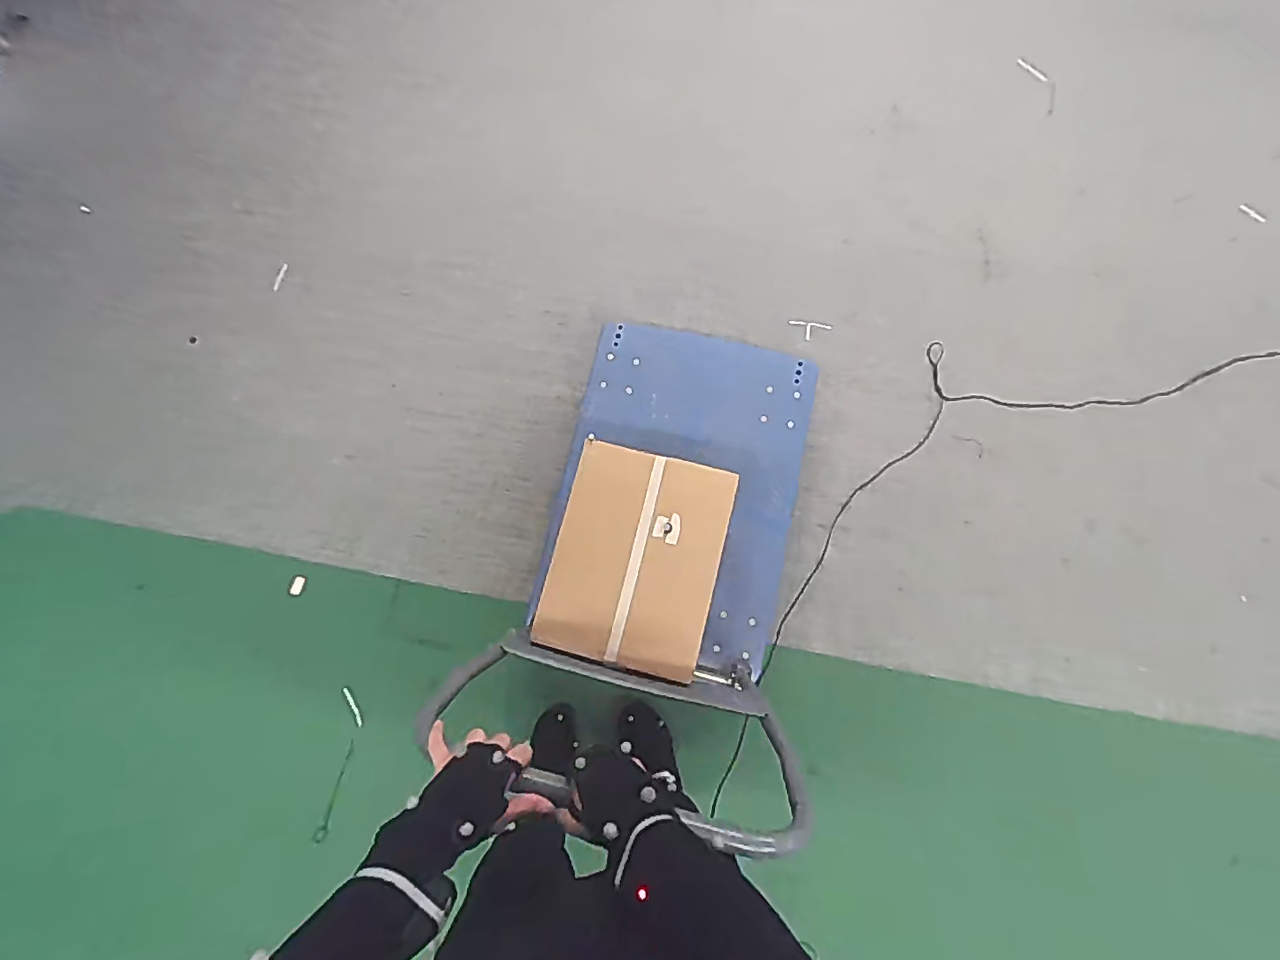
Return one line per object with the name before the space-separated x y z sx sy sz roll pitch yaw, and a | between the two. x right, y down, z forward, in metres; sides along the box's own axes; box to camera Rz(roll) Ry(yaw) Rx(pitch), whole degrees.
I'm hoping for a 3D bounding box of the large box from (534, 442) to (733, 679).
large box | -0.003 0.177 1.182 0.320 0.320 0.408 14 79 4
